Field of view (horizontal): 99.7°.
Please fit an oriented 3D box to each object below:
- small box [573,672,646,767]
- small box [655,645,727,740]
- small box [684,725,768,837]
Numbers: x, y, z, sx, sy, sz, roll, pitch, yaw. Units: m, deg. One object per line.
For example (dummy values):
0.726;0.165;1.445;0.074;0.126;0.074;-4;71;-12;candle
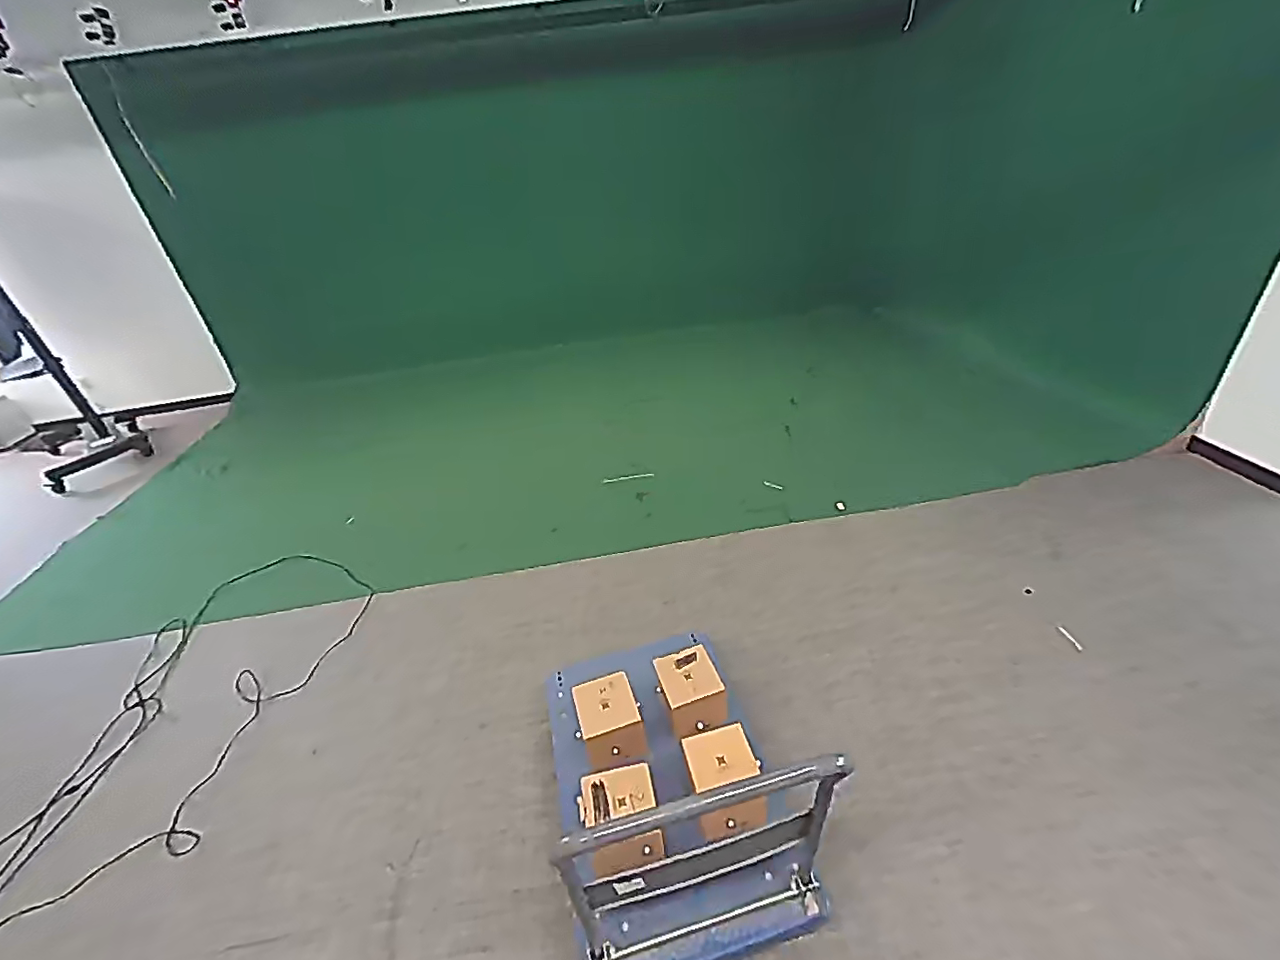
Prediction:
-0.087;0.699;1.568;0.168;0.176;0.179;-14;34;-11;small box
0.152;0.635;1.618;0.168;0.176;0.179;-15;35;-11;small box
0.216;0.776;1.396;0.168;0.176;0.179;-12;34;-8;small box
